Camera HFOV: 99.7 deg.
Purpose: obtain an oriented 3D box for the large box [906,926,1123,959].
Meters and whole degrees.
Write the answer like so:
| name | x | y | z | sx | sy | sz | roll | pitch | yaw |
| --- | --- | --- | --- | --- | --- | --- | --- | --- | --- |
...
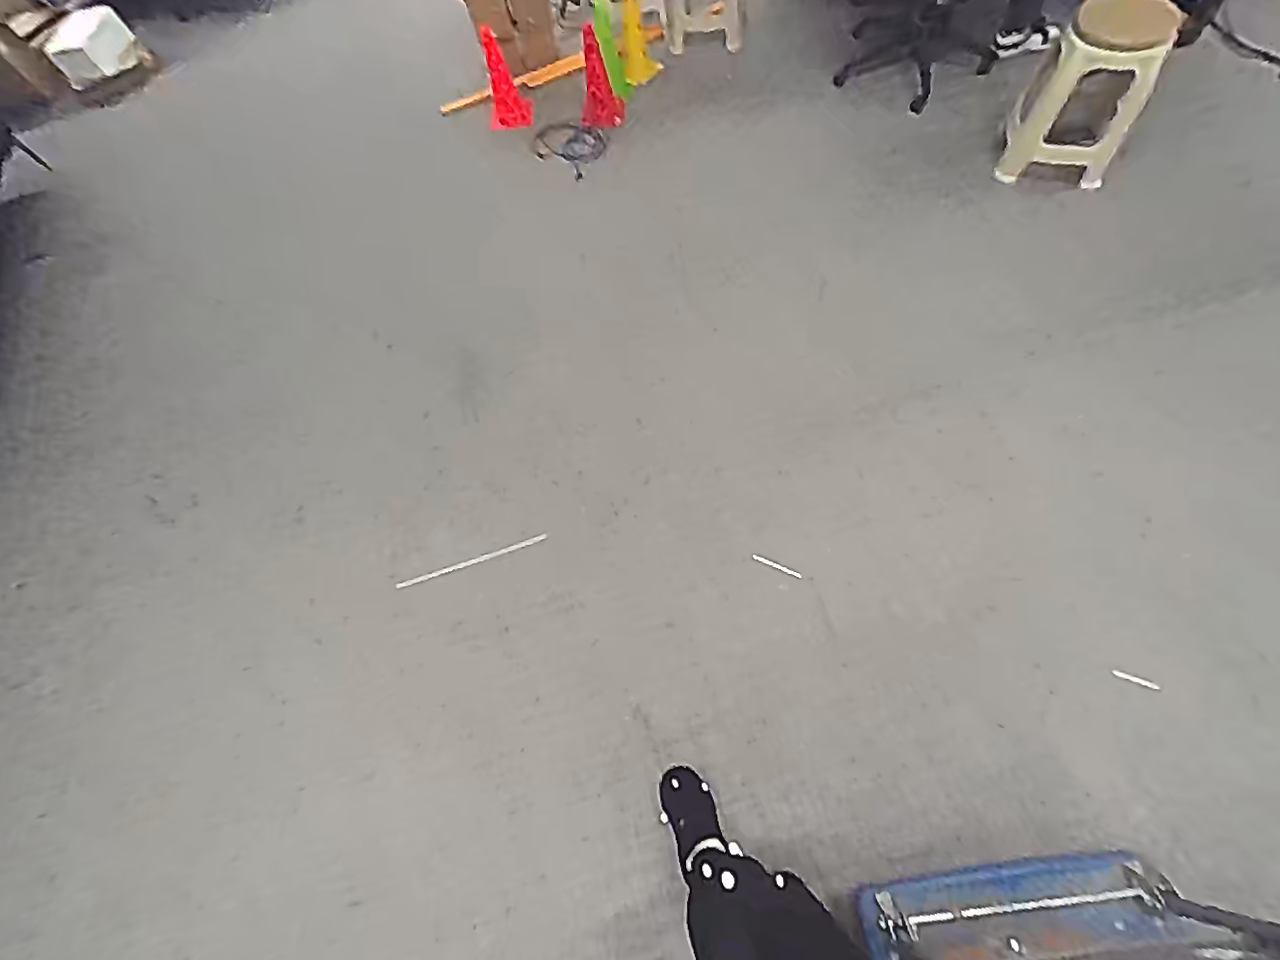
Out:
| name | x | y | z | sx | sy | sz | roll | pitch | yaw |
| --- | --- | --- | --- | --- | --- | --- | --- | --- | --- |
| large box | 0.667 | 0.981 | 0.803 | 0.320 | 0.320 | 0.408 | -11 | 64 | 1 |
